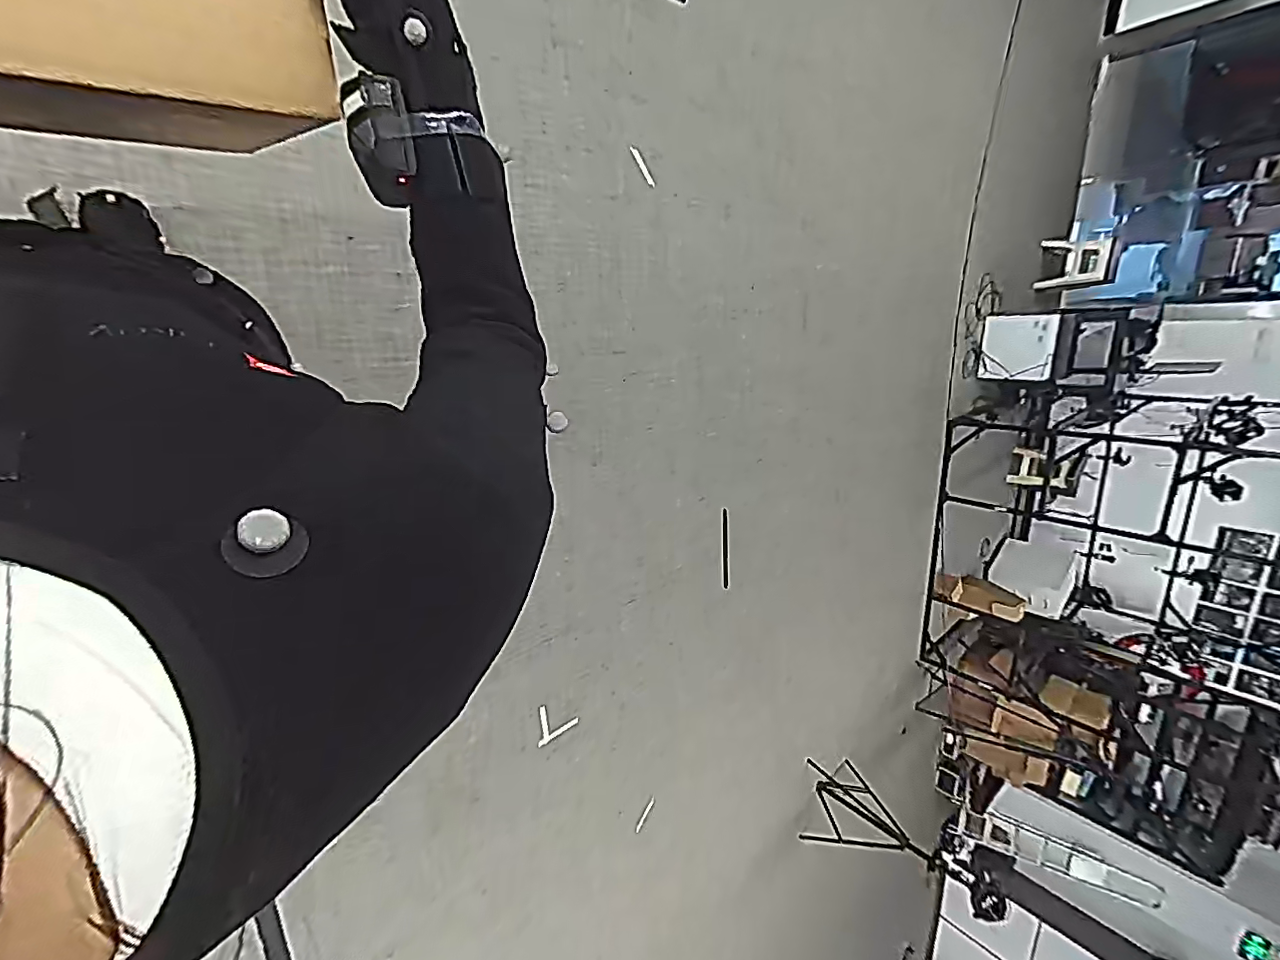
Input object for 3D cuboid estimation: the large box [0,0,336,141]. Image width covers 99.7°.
[{"bbox_3d":[-0.450,-0.385,0.279,0.408,0.320,0.320,-20,124,-39],"label":"large box"}]
